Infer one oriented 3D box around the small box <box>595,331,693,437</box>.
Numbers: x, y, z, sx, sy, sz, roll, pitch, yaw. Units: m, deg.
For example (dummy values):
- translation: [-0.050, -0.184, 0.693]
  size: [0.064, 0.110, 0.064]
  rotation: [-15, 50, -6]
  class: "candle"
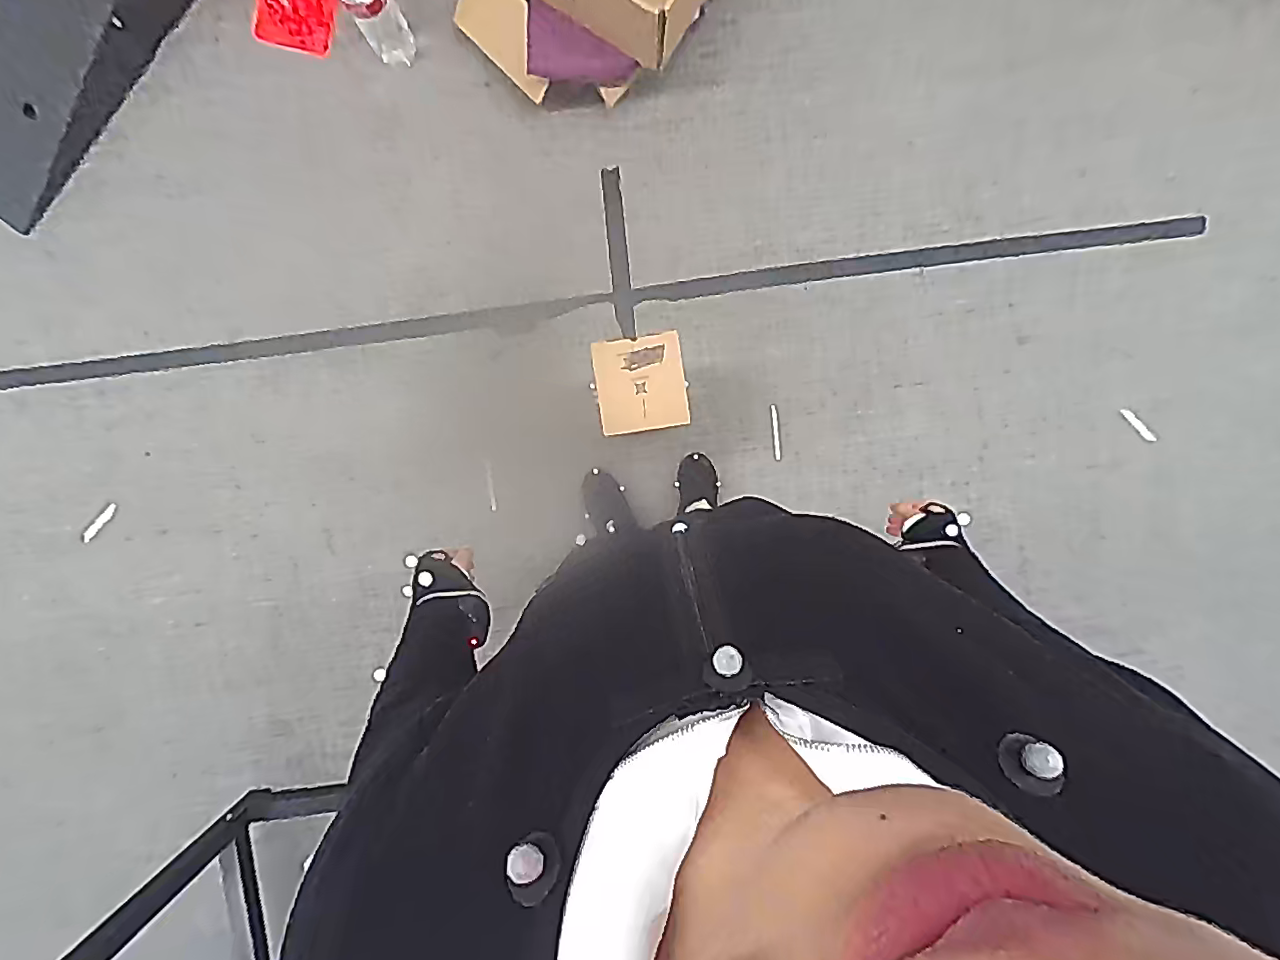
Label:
- translation: [0.005, -0.184, 1.078]
  size: [0.168, 0.176, 0.179]
  rotation: [-9, 94, 0]
  class: "small box"
